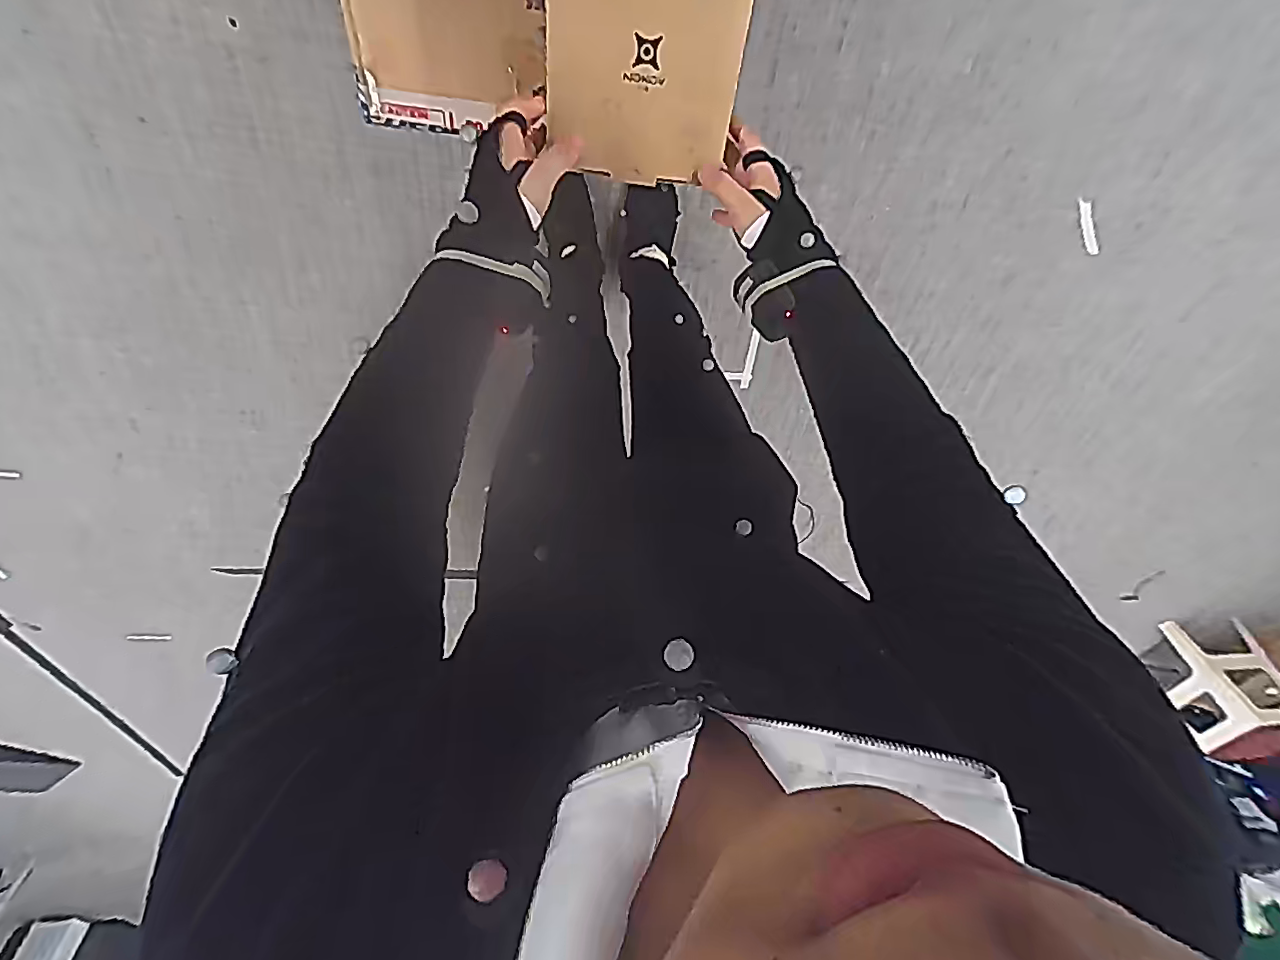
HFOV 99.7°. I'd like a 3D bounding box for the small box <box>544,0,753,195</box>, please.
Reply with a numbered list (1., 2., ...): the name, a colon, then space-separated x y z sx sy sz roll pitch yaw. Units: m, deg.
1. small box: -0.003 -0.399 0.514 0.168 0.176 0.179 2 133 -8
